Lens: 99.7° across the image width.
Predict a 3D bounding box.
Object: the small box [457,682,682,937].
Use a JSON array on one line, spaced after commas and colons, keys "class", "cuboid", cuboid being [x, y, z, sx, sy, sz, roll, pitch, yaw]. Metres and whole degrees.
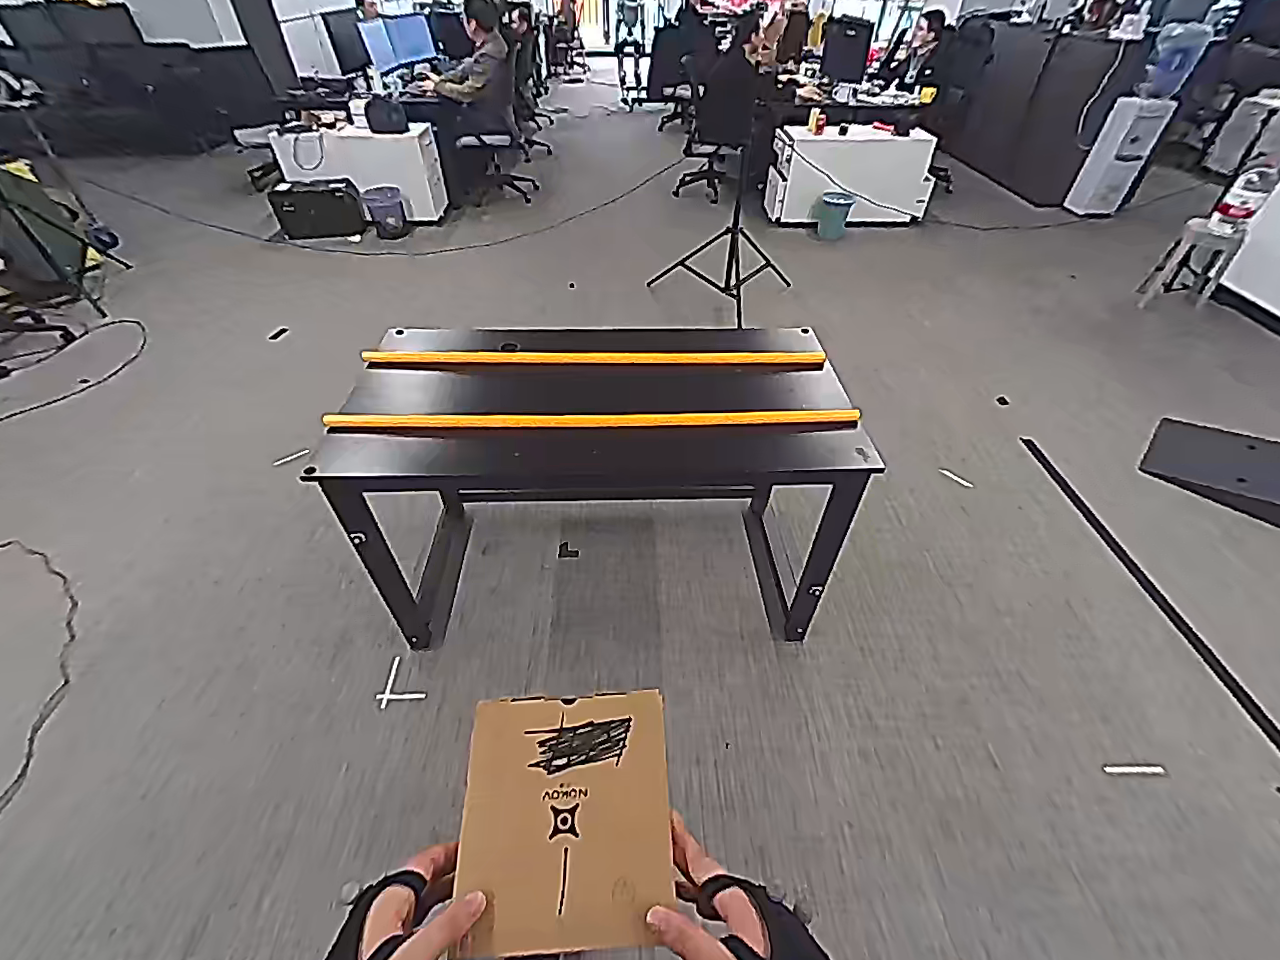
[{"class": "small box", "cuboid": [-0.054, 0.304, 0.503, 0.168, 0.176, 0.179, -3, 53, -1]}]
